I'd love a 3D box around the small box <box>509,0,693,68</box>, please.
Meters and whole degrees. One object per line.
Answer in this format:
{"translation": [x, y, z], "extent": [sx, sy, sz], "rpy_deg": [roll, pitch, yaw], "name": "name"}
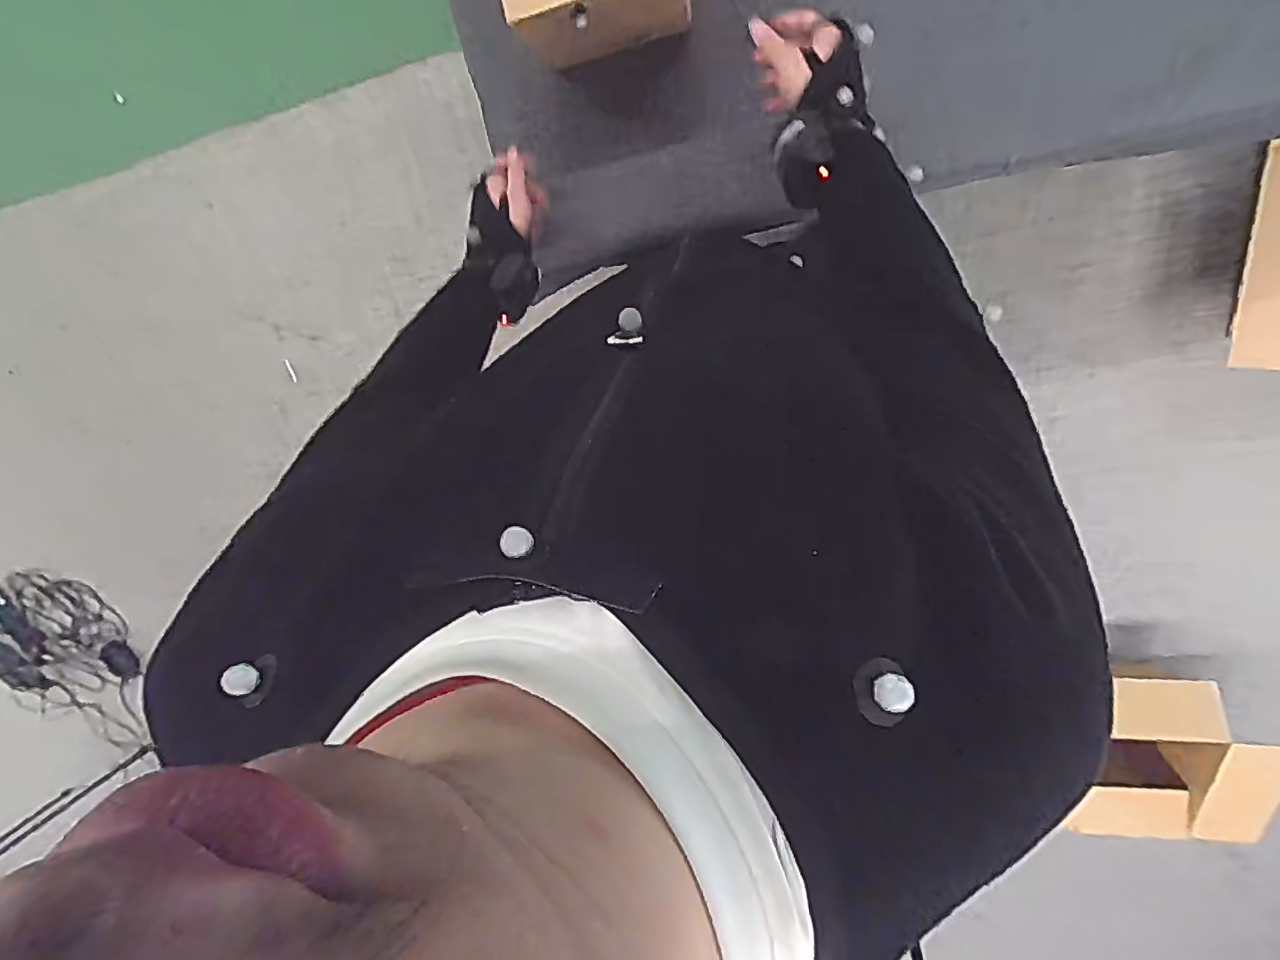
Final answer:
{"translation": [-0.043, -0.539, 0.517], "extent": [0.168, 0.176, 0.179], "rpy_deg": [-8, 112, 11], "name": "small box"}
